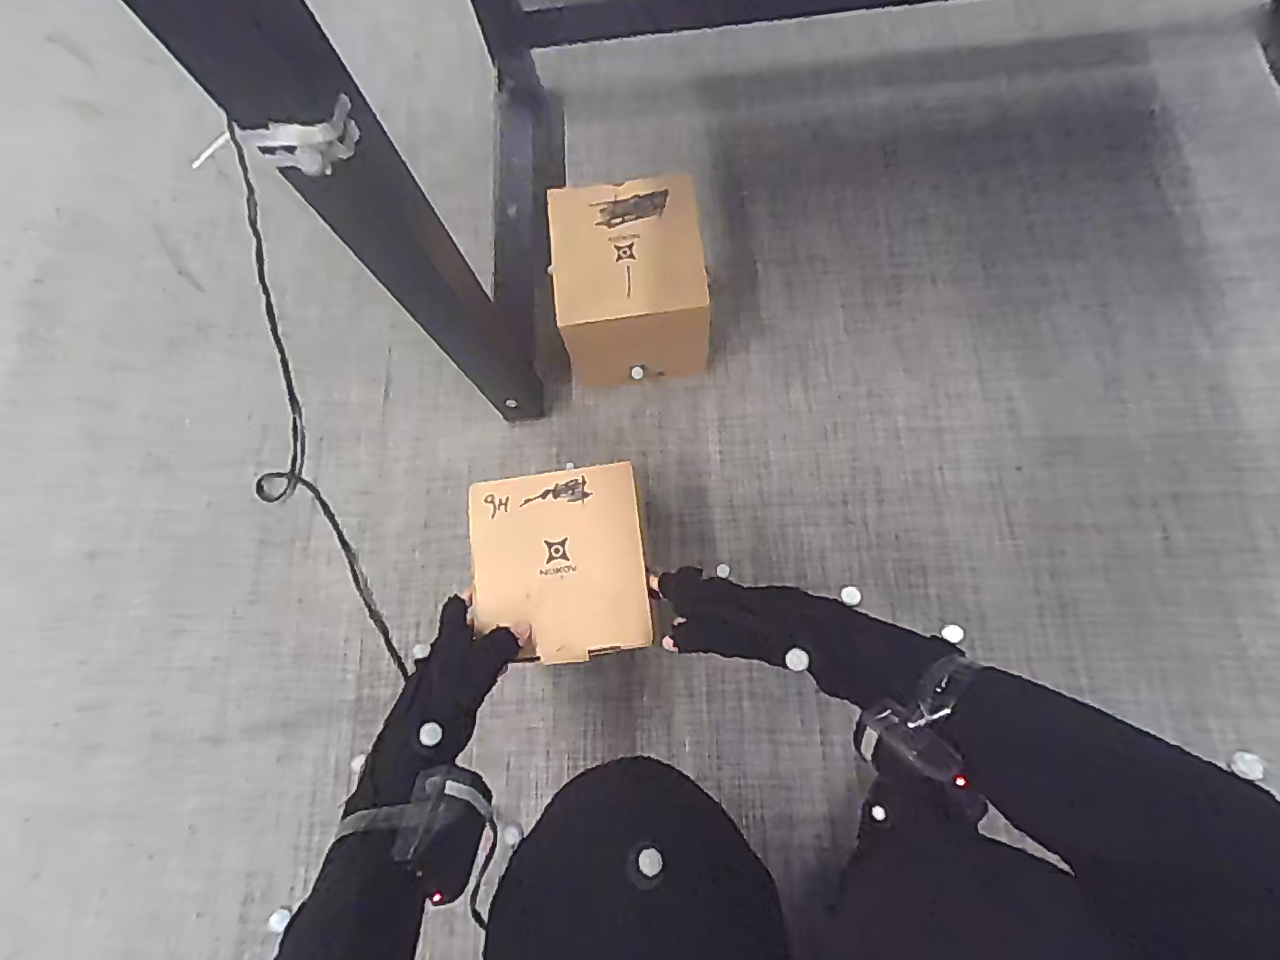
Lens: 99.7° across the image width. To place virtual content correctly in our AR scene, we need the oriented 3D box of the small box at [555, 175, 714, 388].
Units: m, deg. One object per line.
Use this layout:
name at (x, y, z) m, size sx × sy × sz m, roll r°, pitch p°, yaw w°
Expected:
small box at (-0.005, -0.234, 0.669) m, size 0.168 × 0.176 × 0.179 m, roll -7°, pitch 75°, yaw 3°
